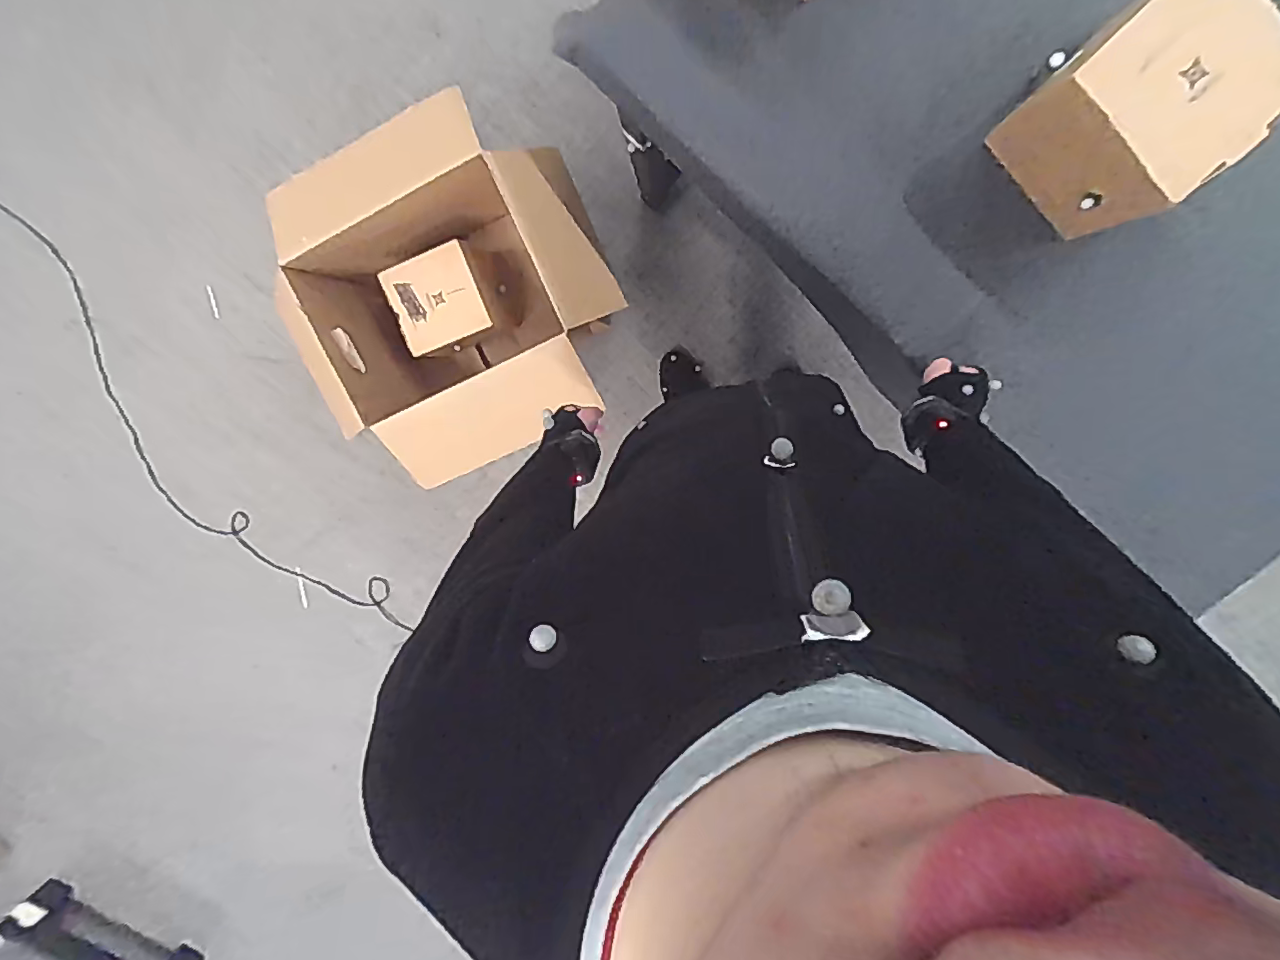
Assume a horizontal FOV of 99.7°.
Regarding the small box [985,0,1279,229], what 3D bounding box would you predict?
[{"bbox_3d":[0.546,-0.411,0.606,0.168,0.176,0.179,-44,96,11],"label":"small box"}]
